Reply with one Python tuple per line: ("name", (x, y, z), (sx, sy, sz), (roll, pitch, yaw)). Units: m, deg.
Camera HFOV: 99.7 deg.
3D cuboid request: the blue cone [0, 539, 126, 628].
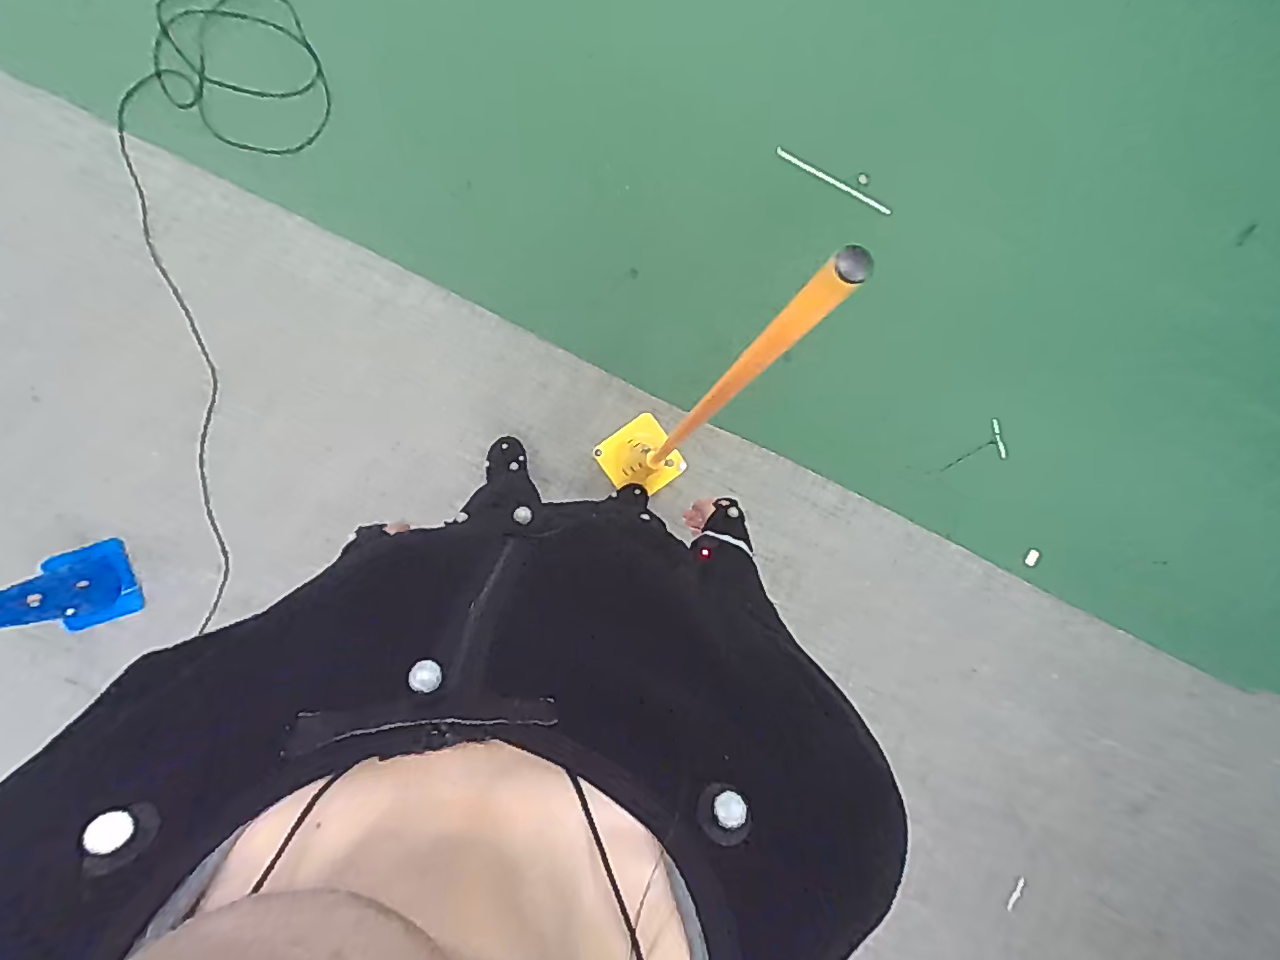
("blue cone", (-1.382, 0.271, 1.181), (0.193, 0.380, 0.192), (-20, 95, -3))
